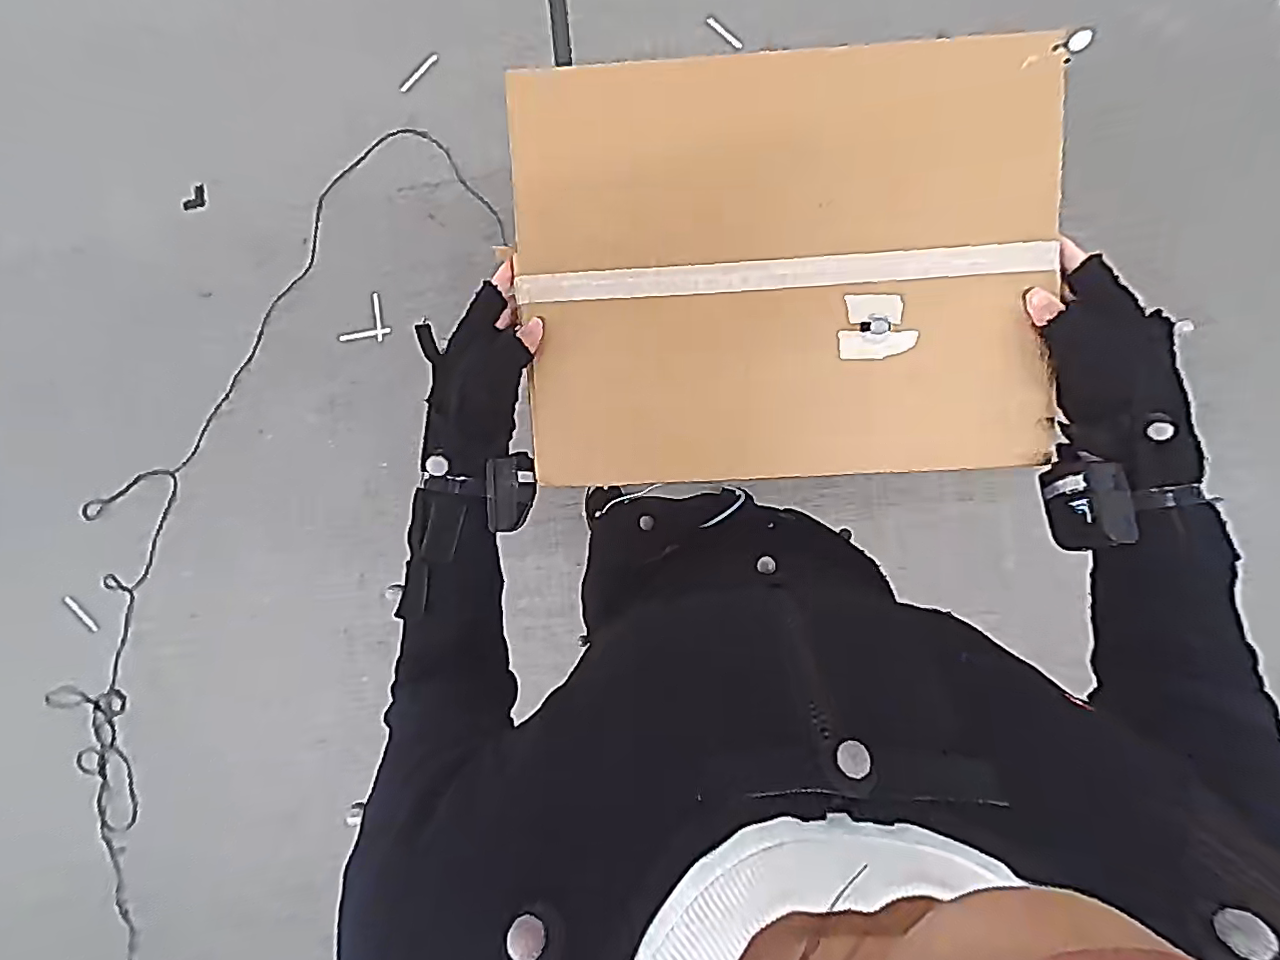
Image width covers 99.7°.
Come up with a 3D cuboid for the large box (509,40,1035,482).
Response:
[{"bbox_3d":[0.108,-0.180,0.574,0.408,0.320,0.320,-4,97,1],"label":"large box"}]
